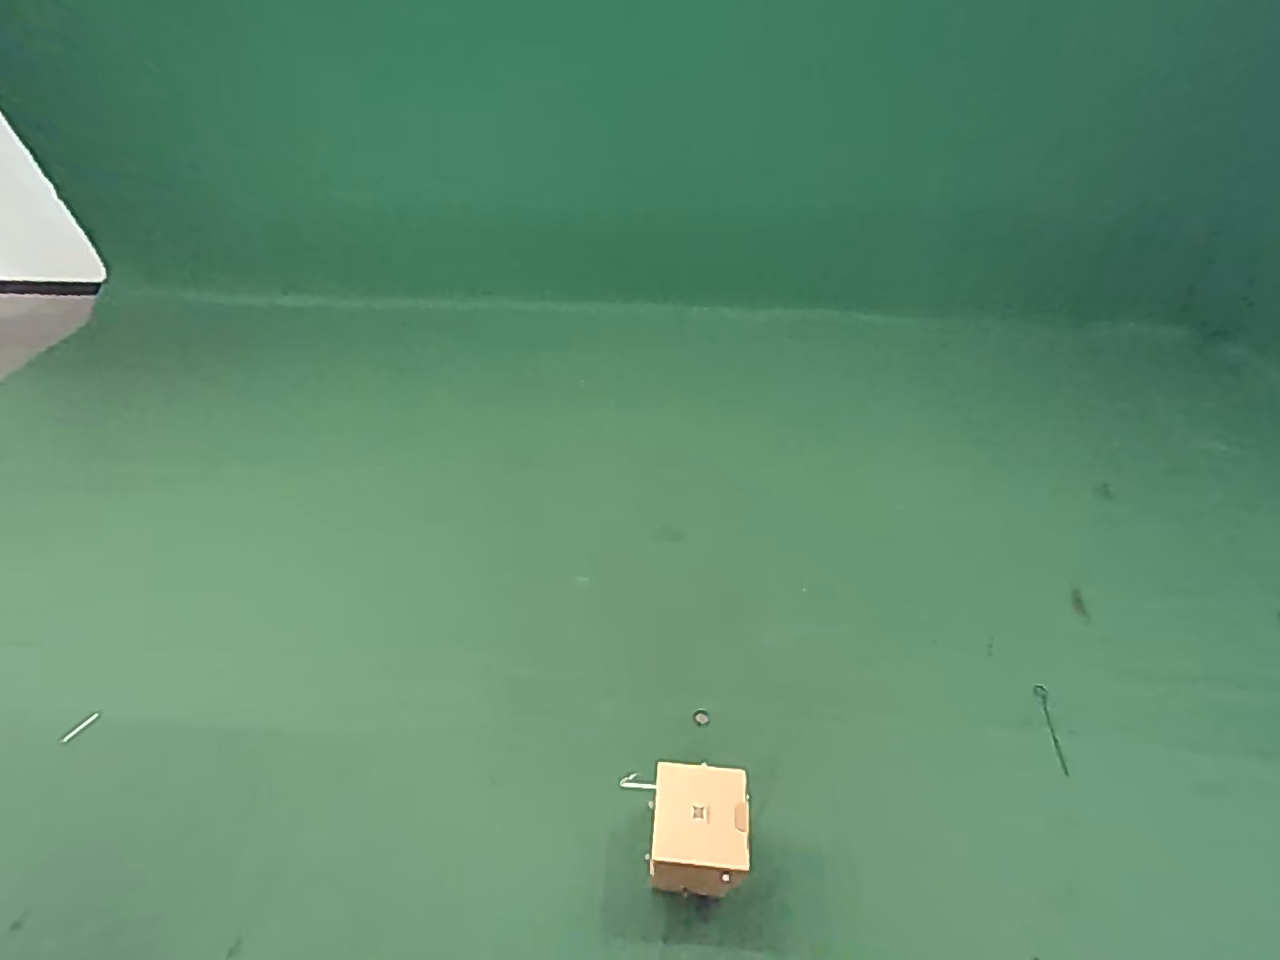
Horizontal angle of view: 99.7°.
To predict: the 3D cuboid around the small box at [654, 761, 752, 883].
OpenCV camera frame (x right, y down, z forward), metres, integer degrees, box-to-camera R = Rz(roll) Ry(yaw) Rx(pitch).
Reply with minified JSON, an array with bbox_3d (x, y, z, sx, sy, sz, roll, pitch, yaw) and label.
[{"bbox_3d":[0.121,0.675,1.065,0.179,0.176,0.168,3,46,4],"label":"small box"}]
